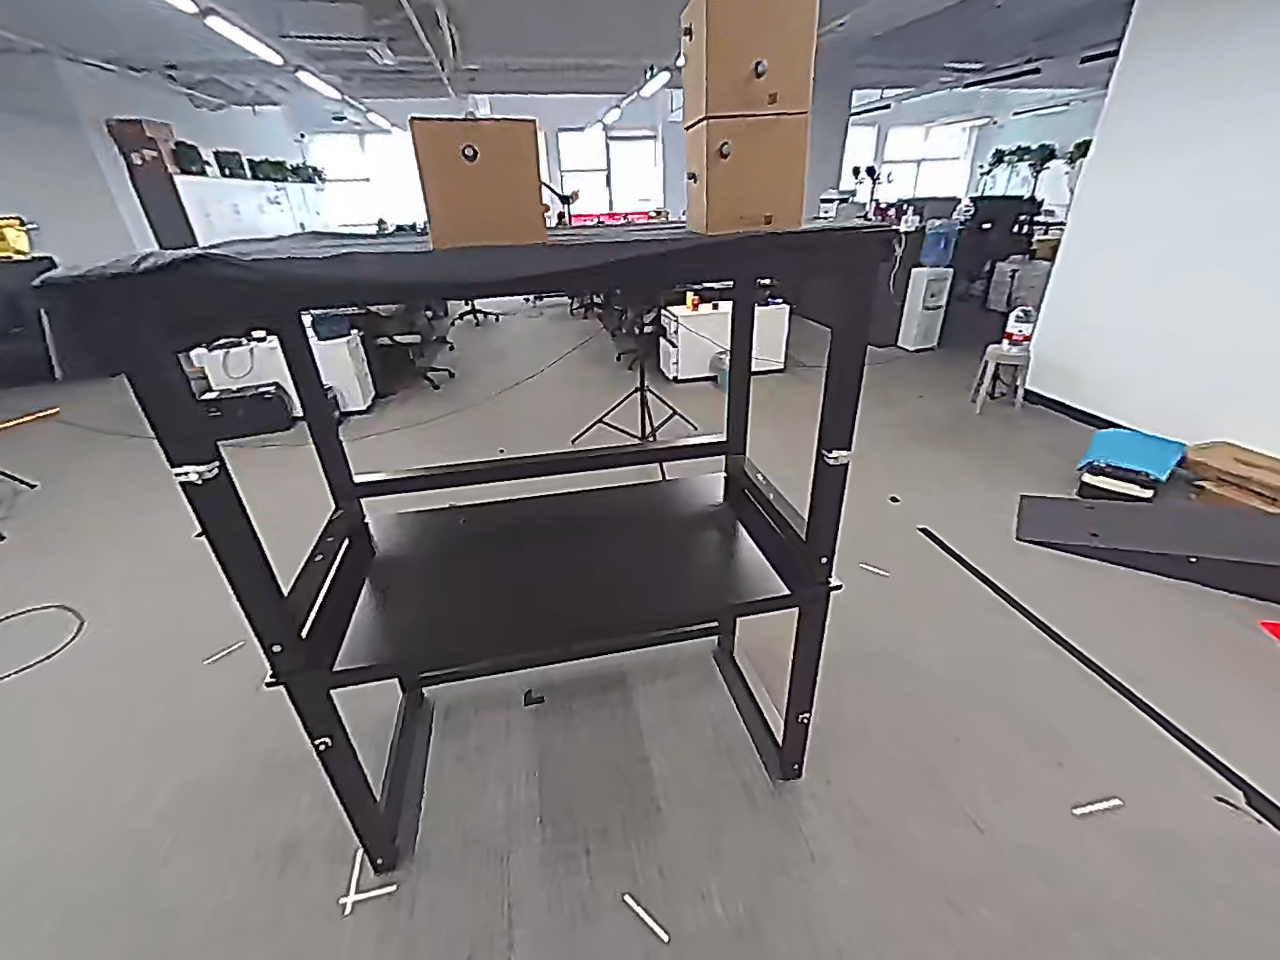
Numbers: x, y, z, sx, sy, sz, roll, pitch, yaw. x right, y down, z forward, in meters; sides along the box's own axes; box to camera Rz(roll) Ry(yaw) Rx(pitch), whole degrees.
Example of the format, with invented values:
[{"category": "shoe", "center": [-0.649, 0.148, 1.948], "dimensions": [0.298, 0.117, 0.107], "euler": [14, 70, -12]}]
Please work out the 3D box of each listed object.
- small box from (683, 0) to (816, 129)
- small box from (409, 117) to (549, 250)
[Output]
[{"category": "small box", "center": [0.163, -0.670, 0.863], "dimensions": [0.168, 0.176, 0.179], "euler": [-7, 28, -5]}, {"category": "small box", "center": [-0.250, -0.464, 0.864], "dimensions": [0.179, 0.176, 0.168], "euler": [-8, 27, -12]}]
